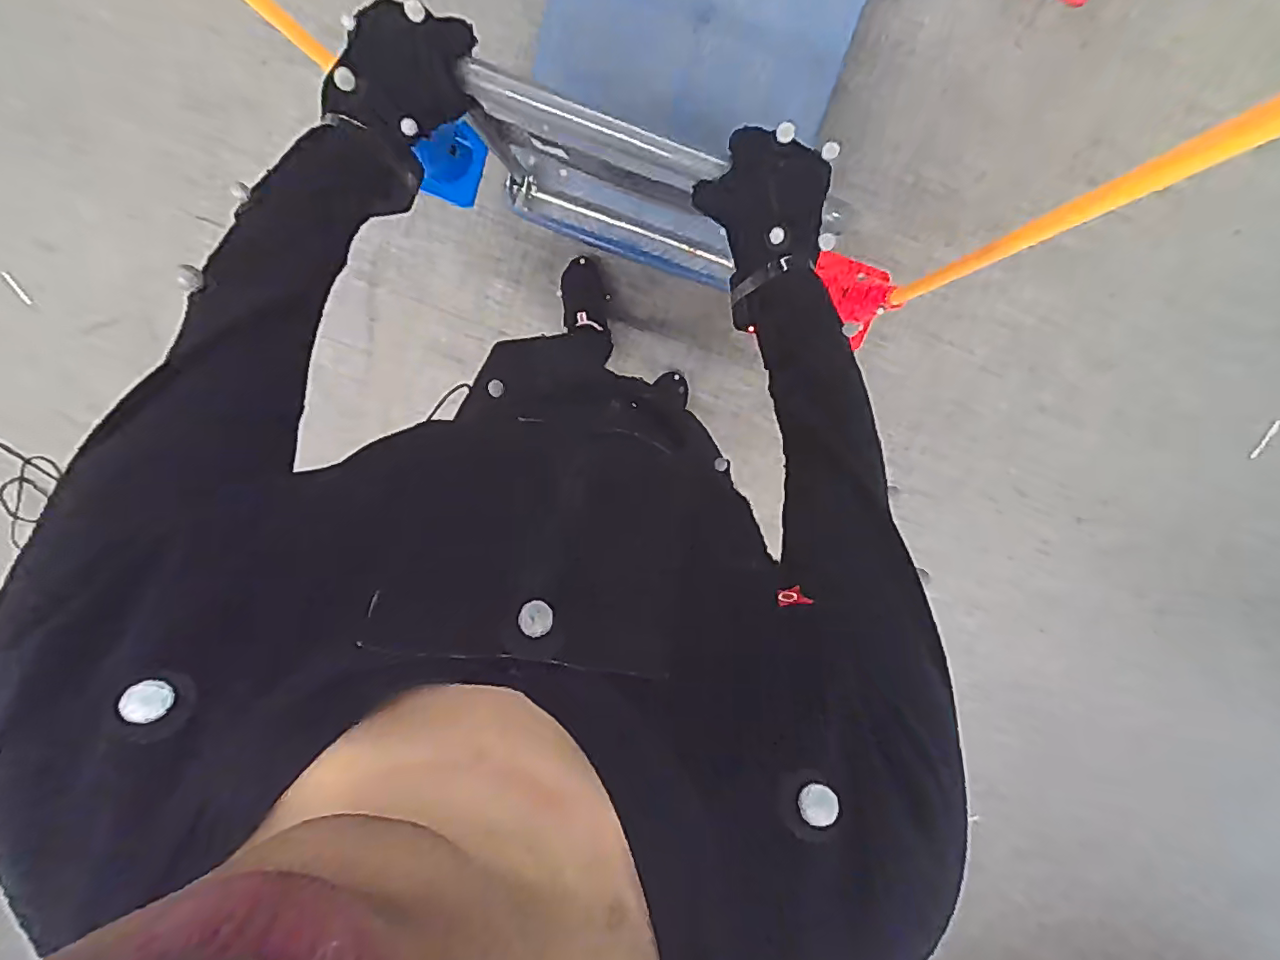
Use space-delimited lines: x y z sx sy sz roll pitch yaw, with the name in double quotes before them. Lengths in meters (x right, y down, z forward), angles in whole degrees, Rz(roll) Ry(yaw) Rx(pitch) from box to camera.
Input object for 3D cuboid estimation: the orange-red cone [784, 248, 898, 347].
"orange-red cone" 0.472 -0.403 1.183 0.199 0.360 0.198 21 106 -3
